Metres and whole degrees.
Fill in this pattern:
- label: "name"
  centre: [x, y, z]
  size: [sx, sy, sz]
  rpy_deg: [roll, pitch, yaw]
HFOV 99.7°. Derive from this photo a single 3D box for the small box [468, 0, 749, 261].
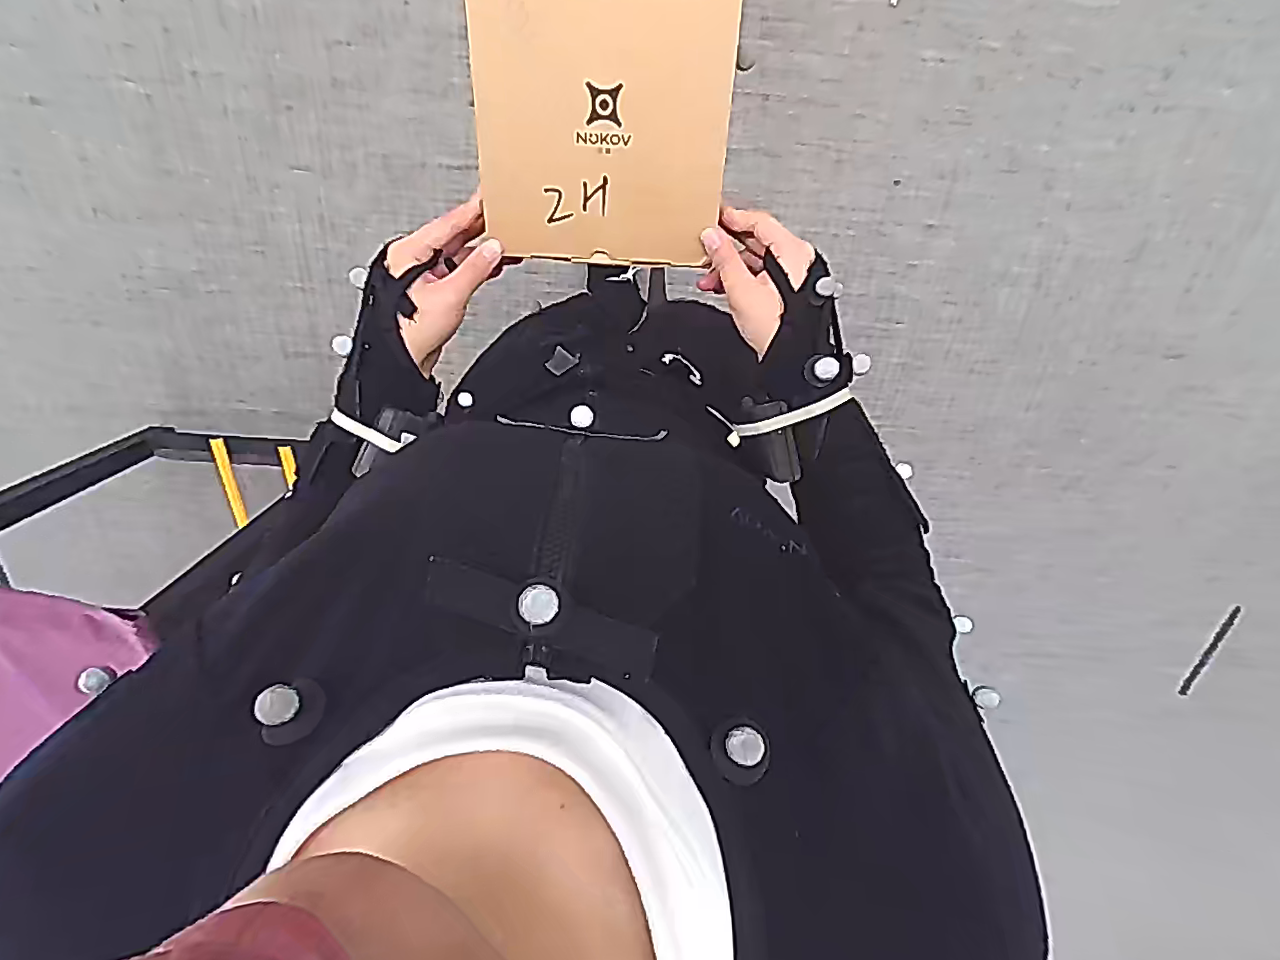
- label: "small box"
  centre: [-0.022, -0.275, 0.407]
  size: [0.168, 0.176, 0.179]
  rpy_deg: [3, 121, -1]
